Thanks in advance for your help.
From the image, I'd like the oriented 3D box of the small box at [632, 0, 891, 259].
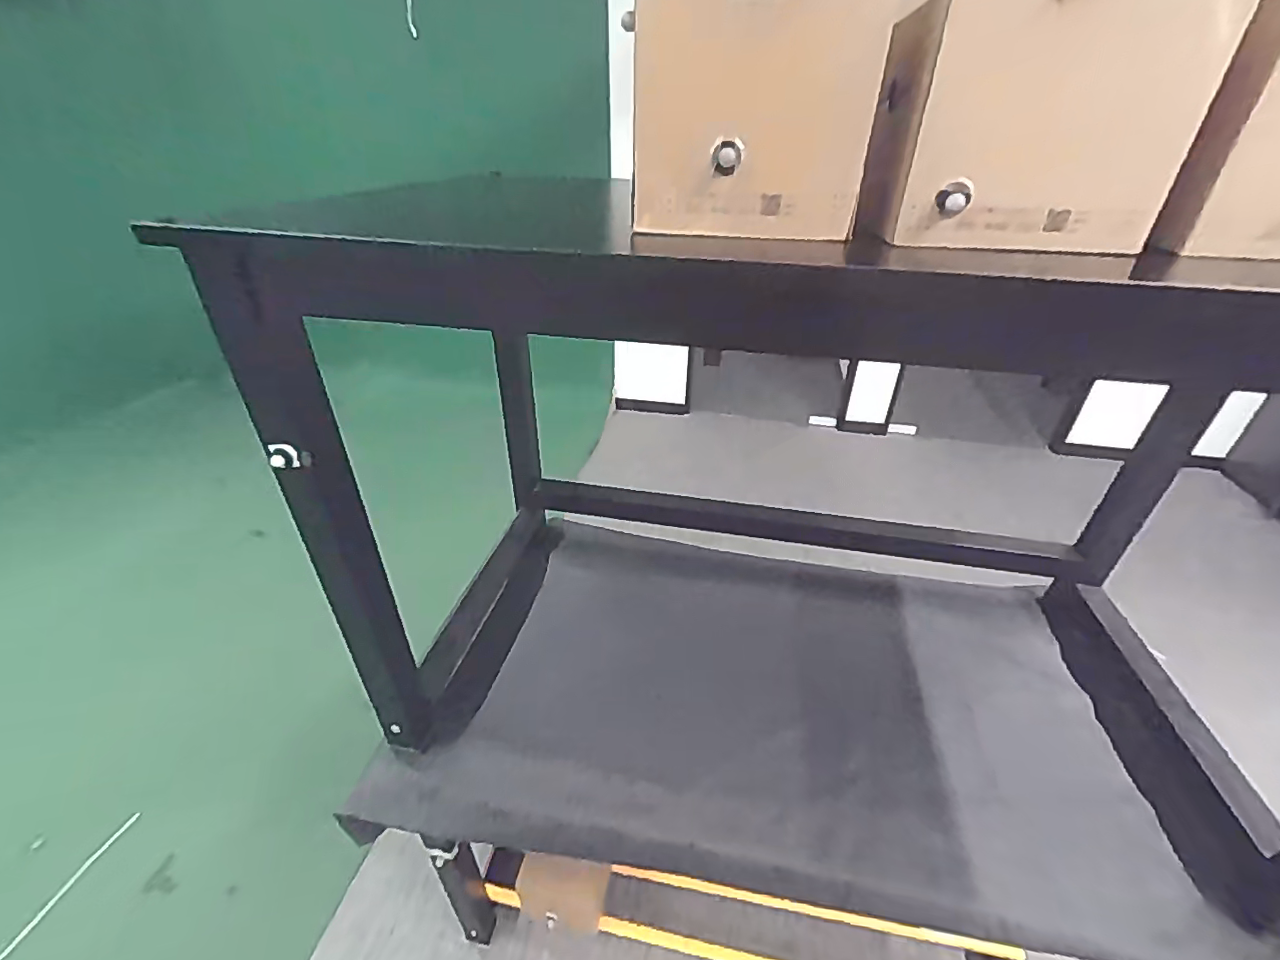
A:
[{"bbox_3d":[0.085,-0.293,0.450,0.168,0.176,0.179,5,34,6],"label":"small box"}]
